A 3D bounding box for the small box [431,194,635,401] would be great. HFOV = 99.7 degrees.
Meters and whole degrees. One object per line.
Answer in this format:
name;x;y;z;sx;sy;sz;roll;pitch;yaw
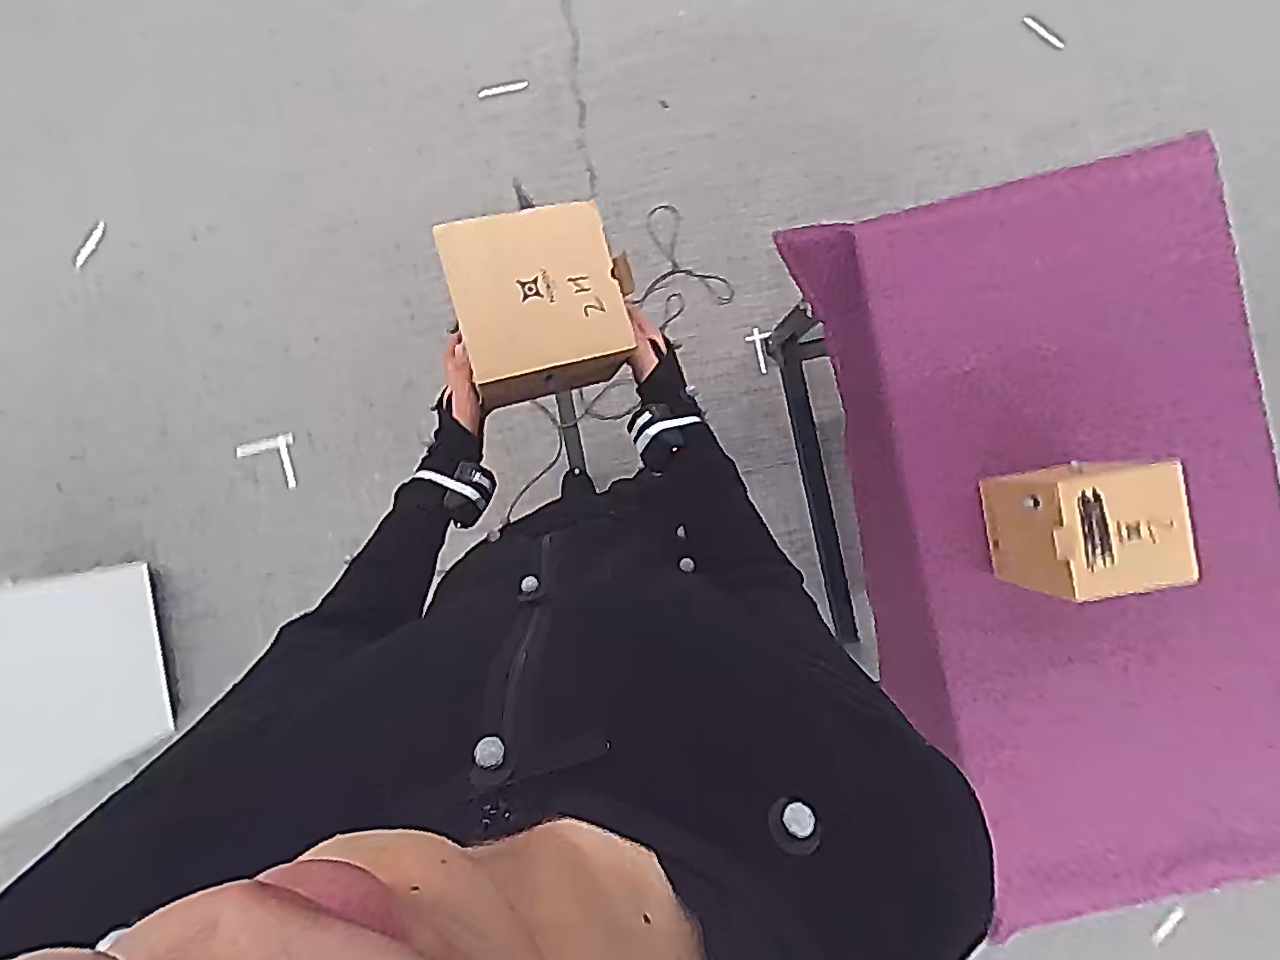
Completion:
small box;-0.123;-0.200;0.635;0.179;0.176;0.168;-17;93;-13
